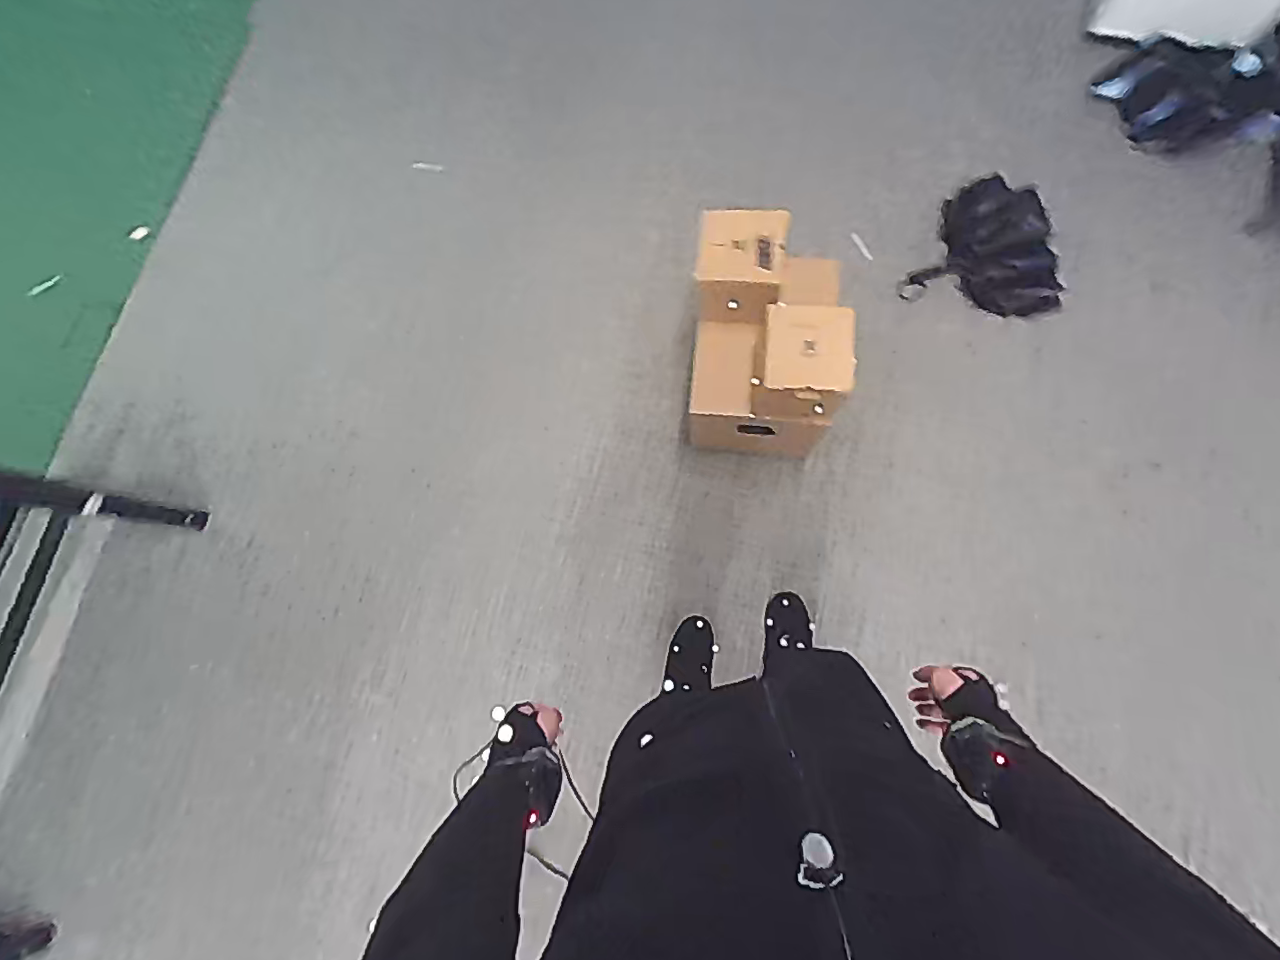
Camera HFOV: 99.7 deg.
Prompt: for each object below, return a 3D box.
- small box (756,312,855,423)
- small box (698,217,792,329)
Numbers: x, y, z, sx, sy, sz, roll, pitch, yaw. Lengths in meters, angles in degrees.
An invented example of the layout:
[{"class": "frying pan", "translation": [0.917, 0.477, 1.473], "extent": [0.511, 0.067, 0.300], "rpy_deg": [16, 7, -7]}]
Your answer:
[{"class": "small box", "translation": [0.335, -0.224, 1.115], "extent": [0.168, 0.176, 0.179], "rpy_deg": [3, 77, 4]}, {"class": "small box", "translation": [0.226, -0.442, 1.176], "extent": [0.179, 0.176, 0.168], "rpy_deg": [6, 78, 11]}]
